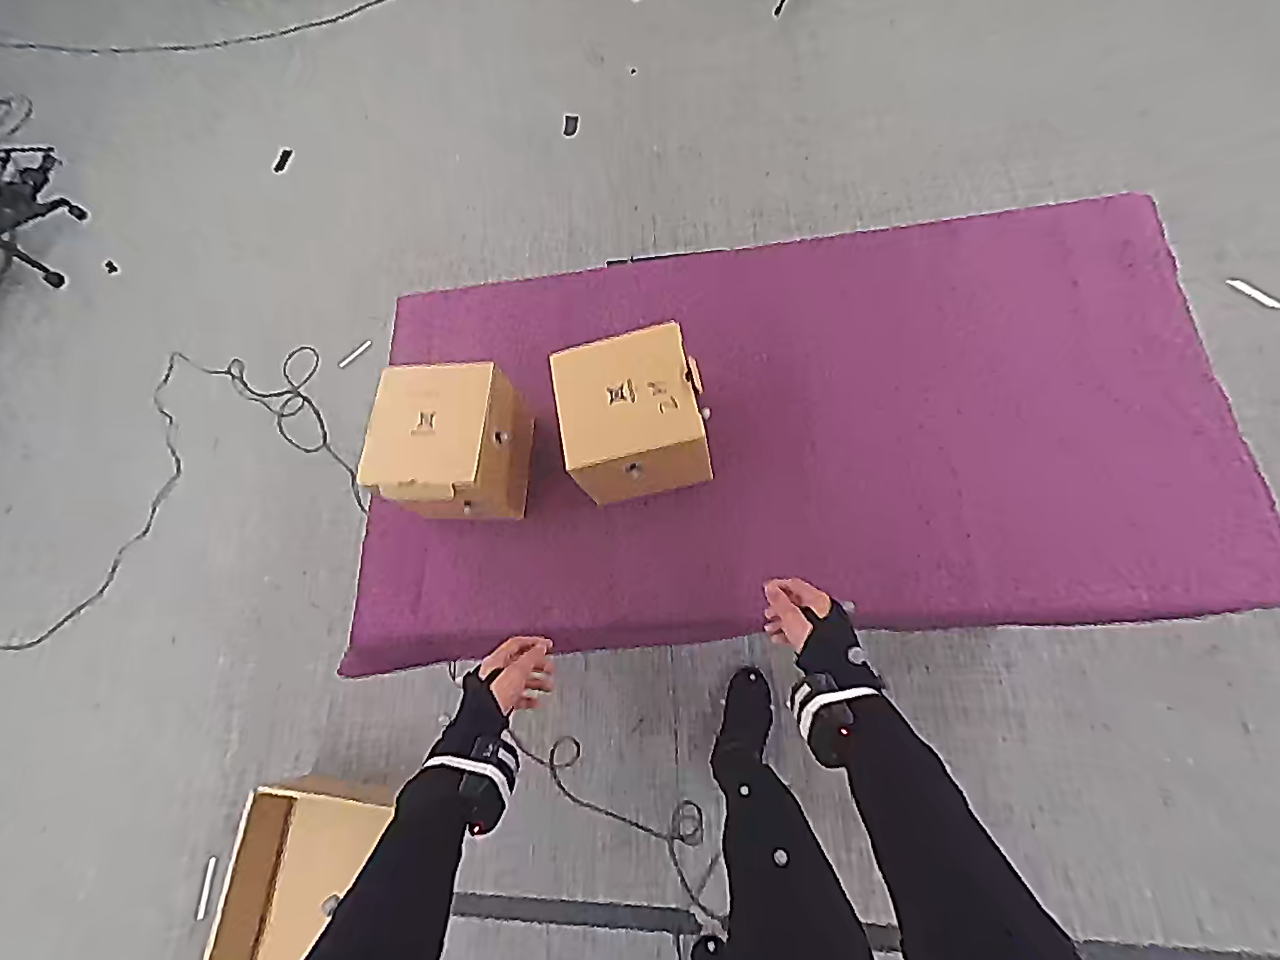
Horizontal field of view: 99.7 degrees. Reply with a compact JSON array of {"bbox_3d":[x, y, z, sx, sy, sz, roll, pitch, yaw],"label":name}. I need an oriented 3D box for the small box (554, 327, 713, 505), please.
[{"bbox_3d":[-0.003,-0.077,0.745,0.179,0.176,0.168,-13,70,5],"label":"small box"}]

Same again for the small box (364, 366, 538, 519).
[{"bbox_3d":[-0.258,-0.046,0.783,0.168,0.176,0.179,1,71,10],"label":"small box"}]
